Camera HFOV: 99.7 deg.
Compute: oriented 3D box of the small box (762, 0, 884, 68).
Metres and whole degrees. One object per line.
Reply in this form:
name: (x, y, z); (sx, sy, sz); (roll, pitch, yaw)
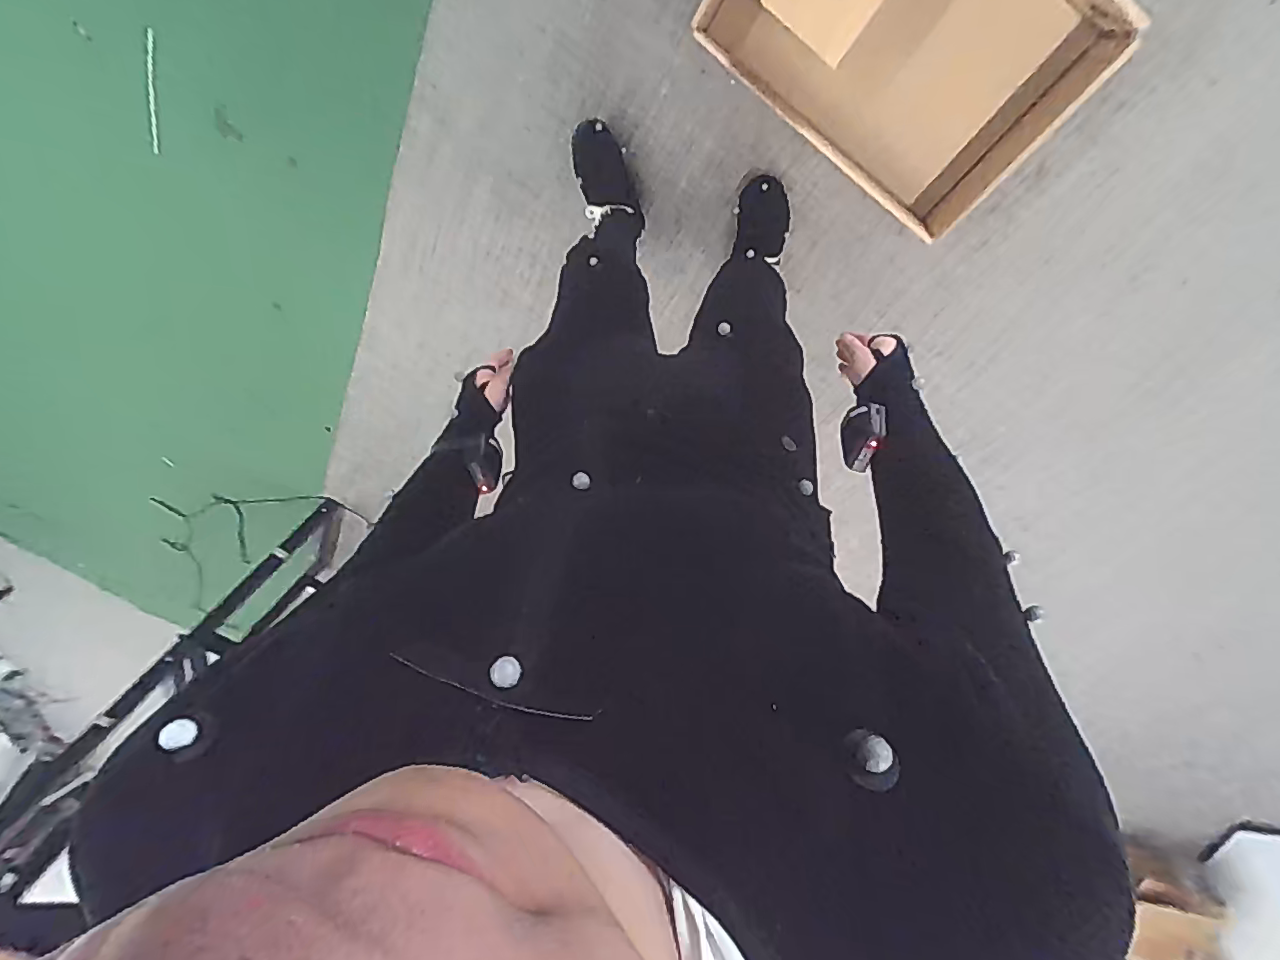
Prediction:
small box: (0.329, -0.840, 0.912); (0.168, 0.176, 0.179); (33, 128, -11)
